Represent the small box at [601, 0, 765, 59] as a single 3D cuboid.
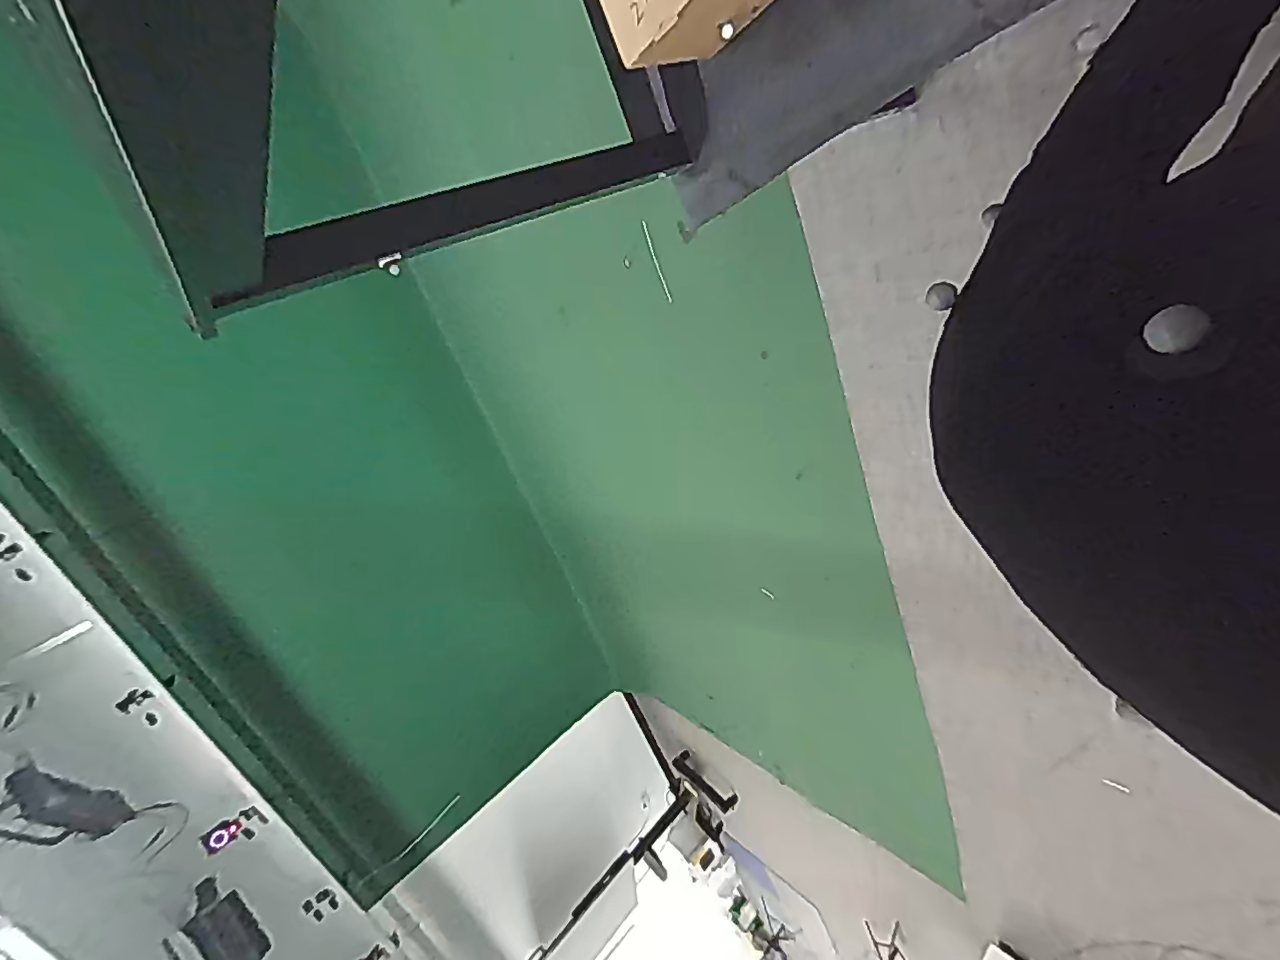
[{"bbox_3d":[0.053,-0.650,0.645,0.168,0.176,0.179,2,121,56],"label":"small box"}]
